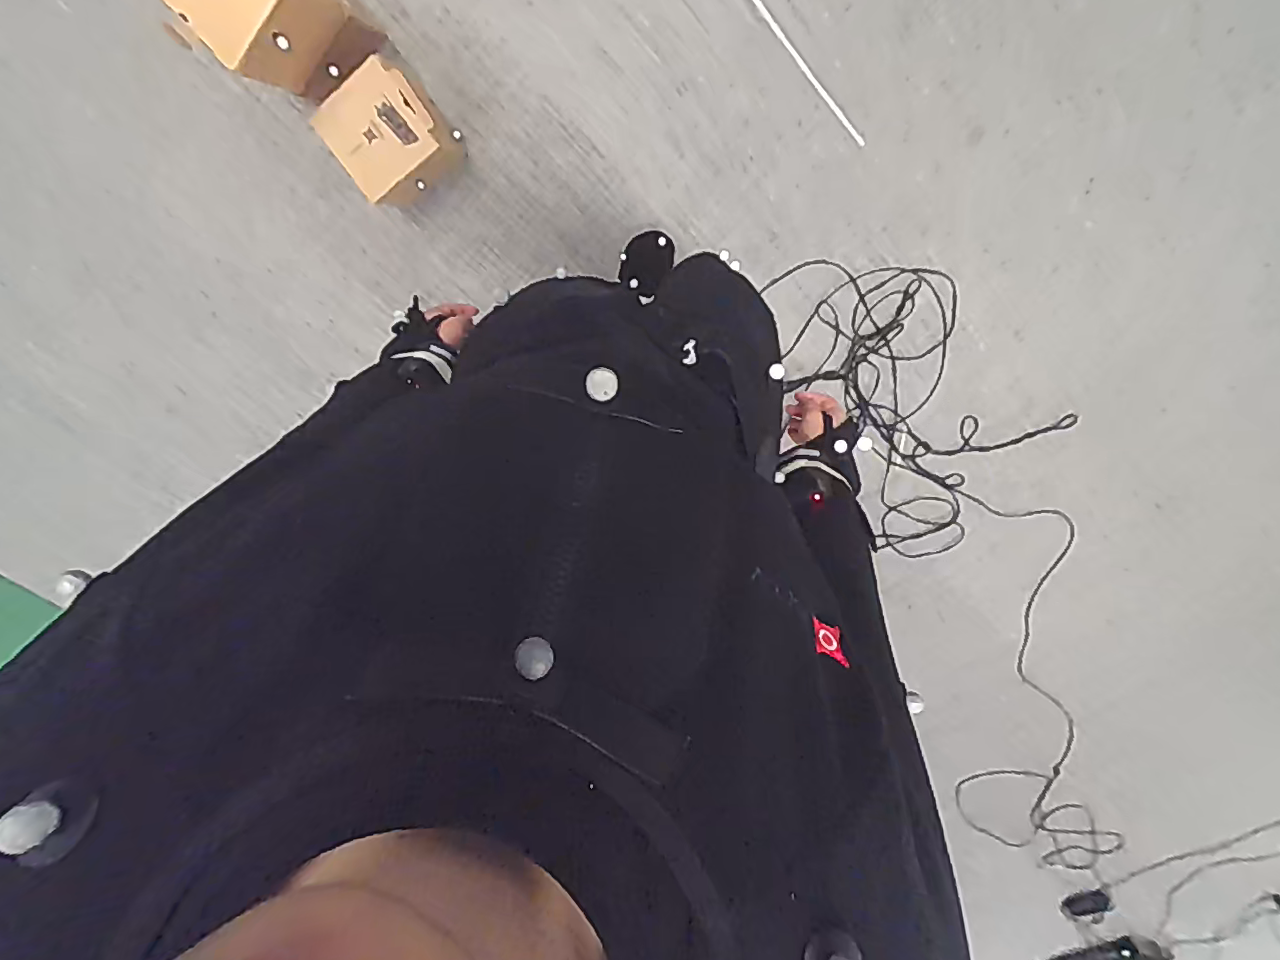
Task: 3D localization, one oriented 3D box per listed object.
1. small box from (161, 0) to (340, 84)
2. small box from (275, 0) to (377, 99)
[{"bbox_3d":[-0.592,-0.746,0.813,0.179,0.176,0.168,-38,111,19],"label":"small box"},{"bbox_3d":[-0.607,-0.821,0.958,0.179,0.176,0.168,-37,111,19],"label":"small box"}]
